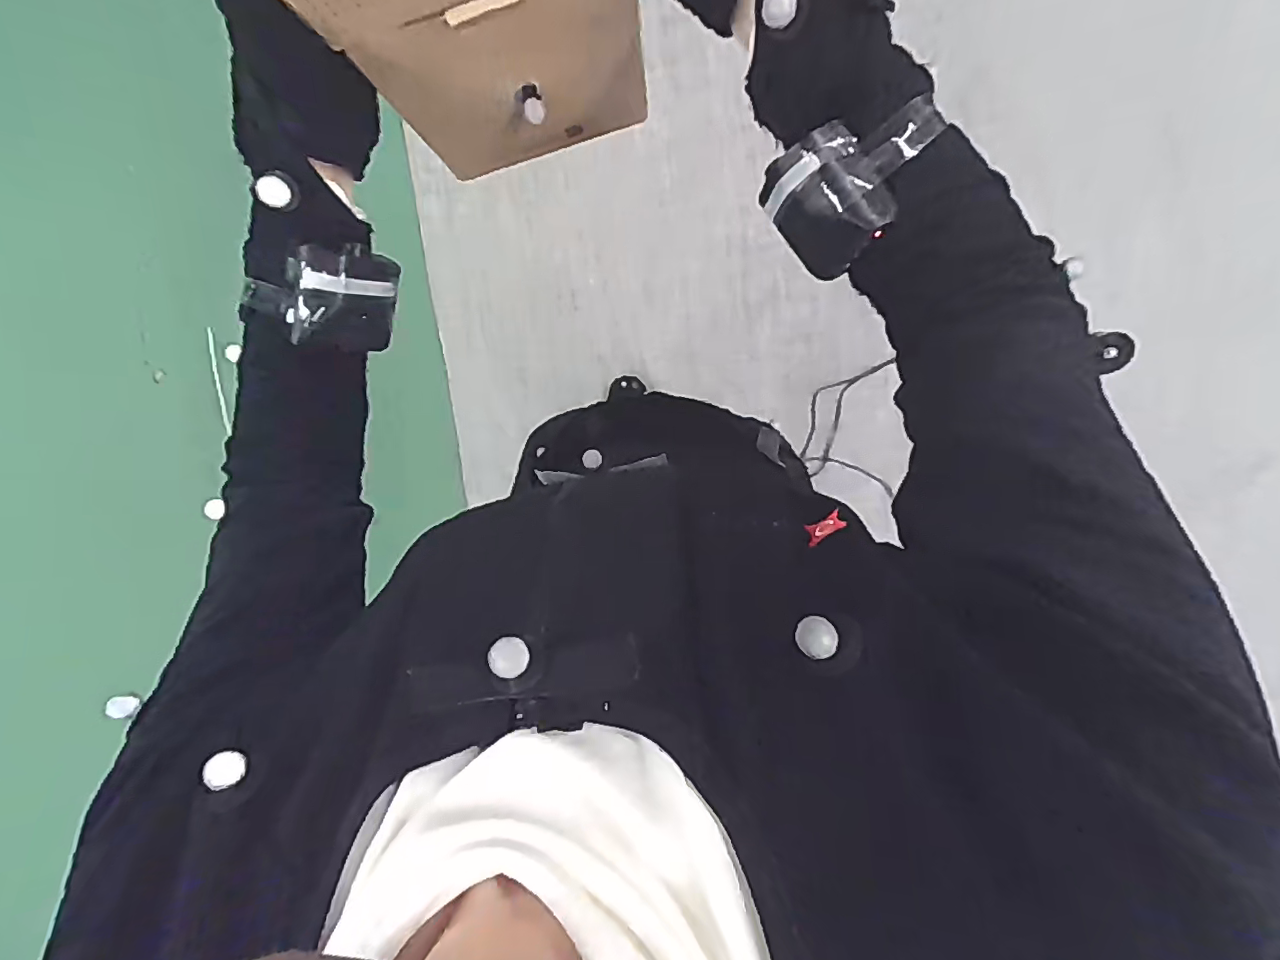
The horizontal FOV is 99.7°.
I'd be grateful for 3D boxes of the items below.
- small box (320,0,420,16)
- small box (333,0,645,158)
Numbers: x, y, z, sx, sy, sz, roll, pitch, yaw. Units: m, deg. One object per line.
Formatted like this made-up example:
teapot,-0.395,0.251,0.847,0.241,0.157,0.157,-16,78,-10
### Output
small box,-0.116,-0.328,0.199,0.168,0.176,0.179,-16,94,5
small box,-0.098,-0.348,0.360,0.168,0.176,0.179,-15,96,6
